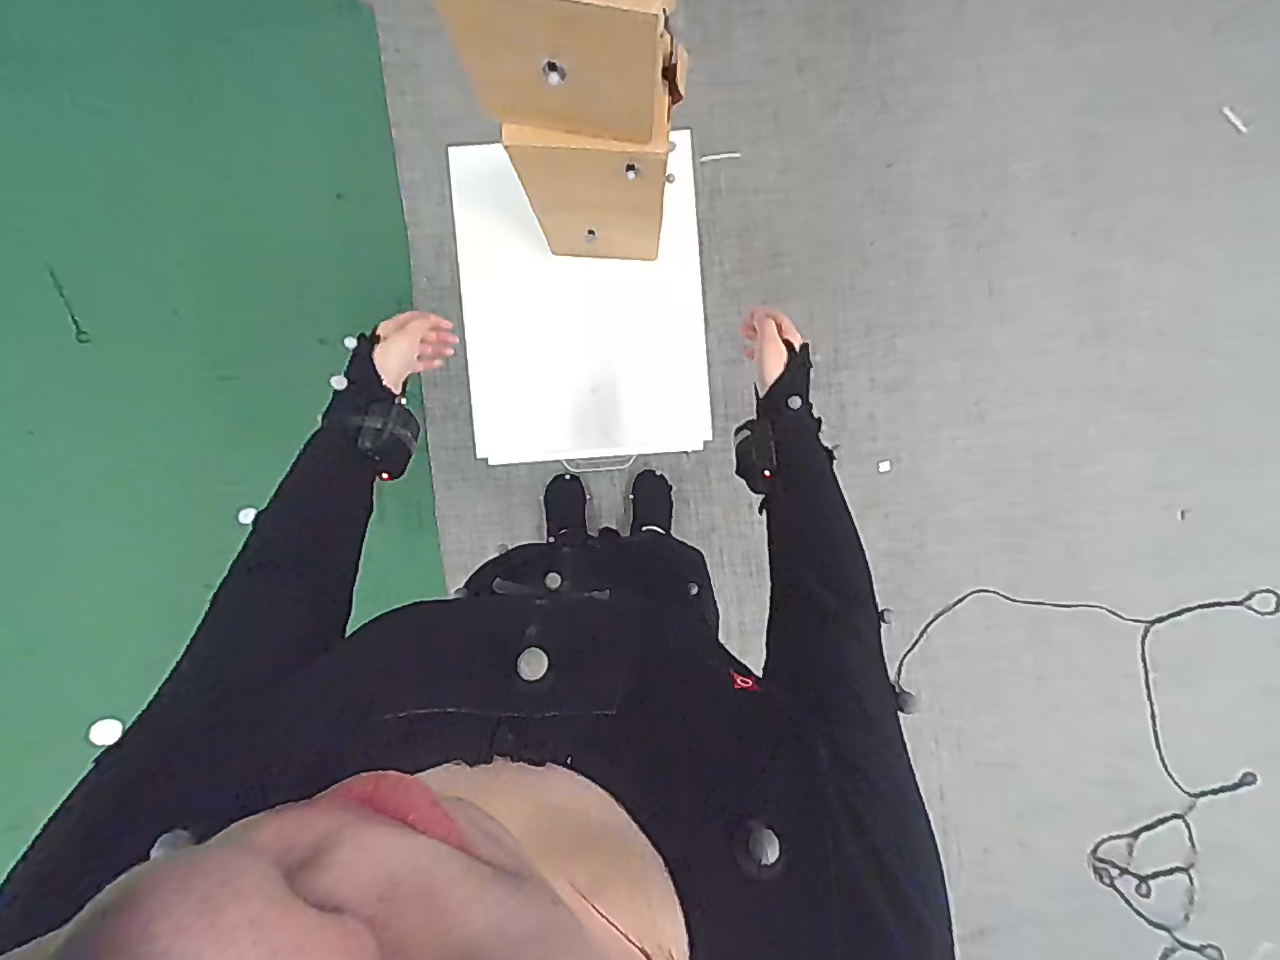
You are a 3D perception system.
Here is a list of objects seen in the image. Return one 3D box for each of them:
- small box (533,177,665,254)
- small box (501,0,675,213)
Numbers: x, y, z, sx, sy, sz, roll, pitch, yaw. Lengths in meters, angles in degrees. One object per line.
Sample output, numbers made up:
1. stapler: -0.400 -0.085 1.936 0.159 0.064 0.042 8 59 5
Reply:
1. small box: -0.052 -0.446 0.797 0.179 0.176 0.168 3 94 -1
2. small box: -0.055 -0.433 0.634 0.179 0.176 0.168 2 93 -2
